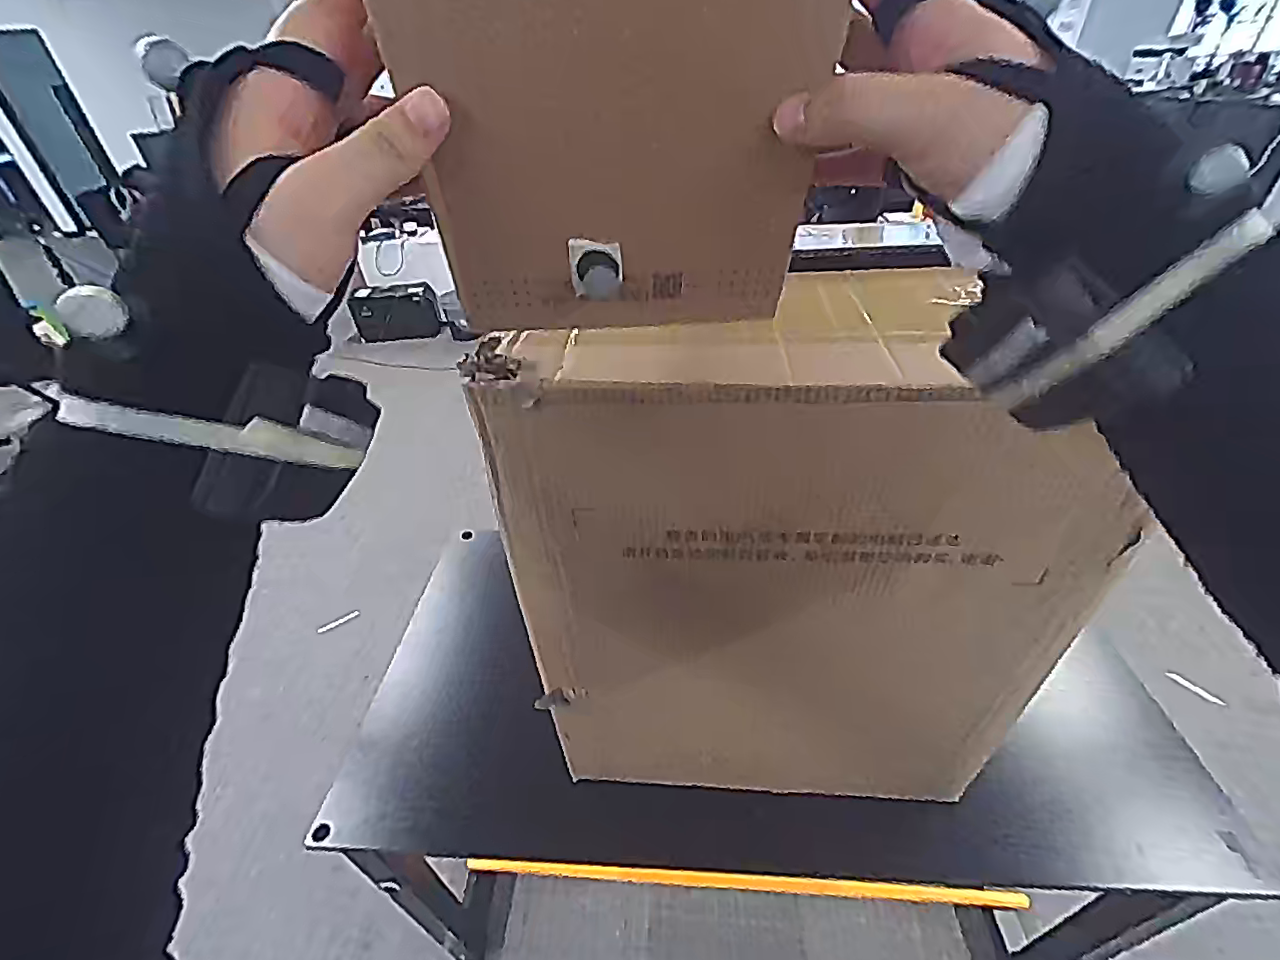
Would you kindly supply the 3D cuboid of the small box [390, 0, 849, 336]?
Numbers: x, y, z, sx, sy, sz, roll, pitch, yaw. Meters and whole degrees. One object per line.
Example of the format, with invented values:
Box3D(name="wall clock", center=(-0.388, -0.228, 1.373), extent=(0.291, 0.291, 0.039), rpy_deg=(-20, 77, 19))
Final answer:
Box3D(name="small box", center=(-0.015, -0.199, 0.279), extent=(0.168, 0.176, 0.179), rpy_deg=(-6, 55, -3))
